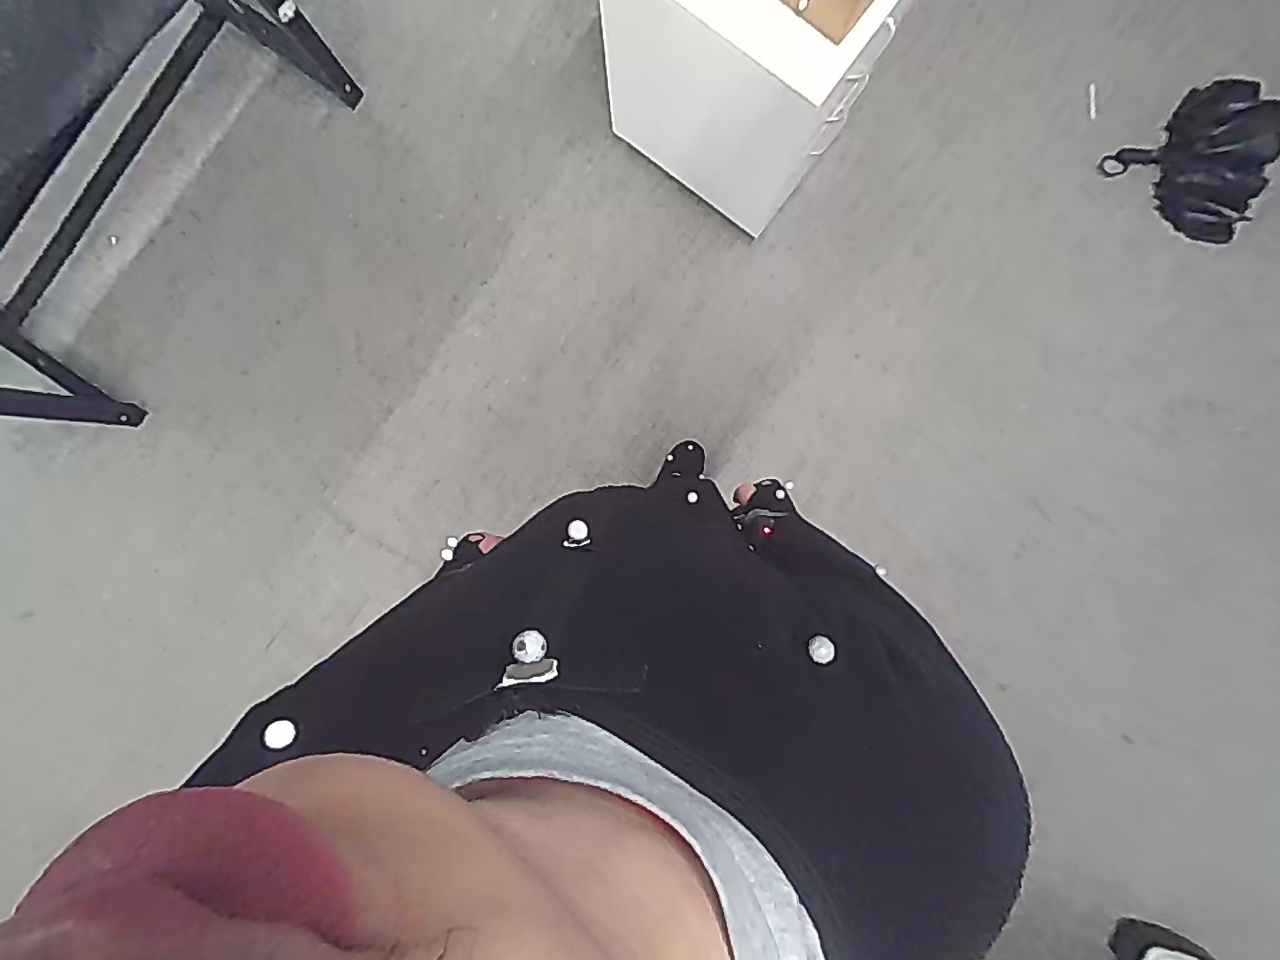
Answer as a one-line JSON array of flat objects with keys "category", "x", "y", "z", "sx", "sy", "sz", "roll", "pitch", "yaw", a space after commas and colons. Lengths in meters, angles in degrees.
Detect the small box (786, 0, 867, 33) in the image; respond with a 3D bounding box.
[{"category": "small box", "x": 0.330, "y": -0.883, "z": 0.870, "sx": 0.179, "sy": 0.176, "sz": 0.168, "roll": 38, "pitch": 91, "yaw": -1}]
